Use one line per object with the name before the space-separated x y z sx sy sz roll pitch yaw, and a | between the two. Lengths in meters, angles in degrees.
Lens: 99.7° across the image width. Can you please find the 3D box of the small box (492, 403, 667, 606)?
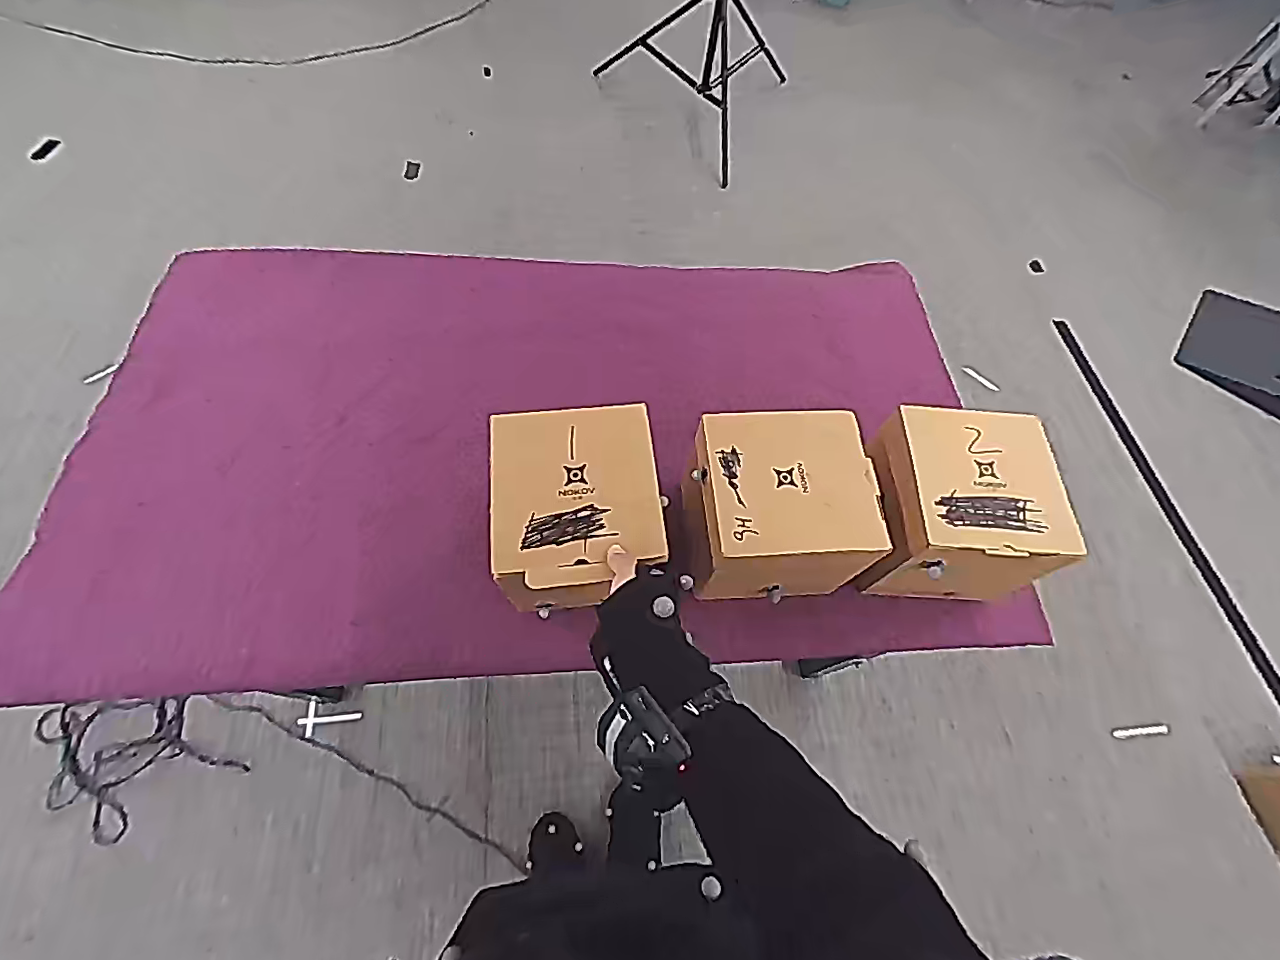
small box | -0.066 0.037 0.603 0.168 0.176 0.179 -6 65 -6

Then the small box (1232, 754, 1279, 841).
small box | 1.545 0.733 1.230 0.168 0.176 0.179 -8 64 -10
